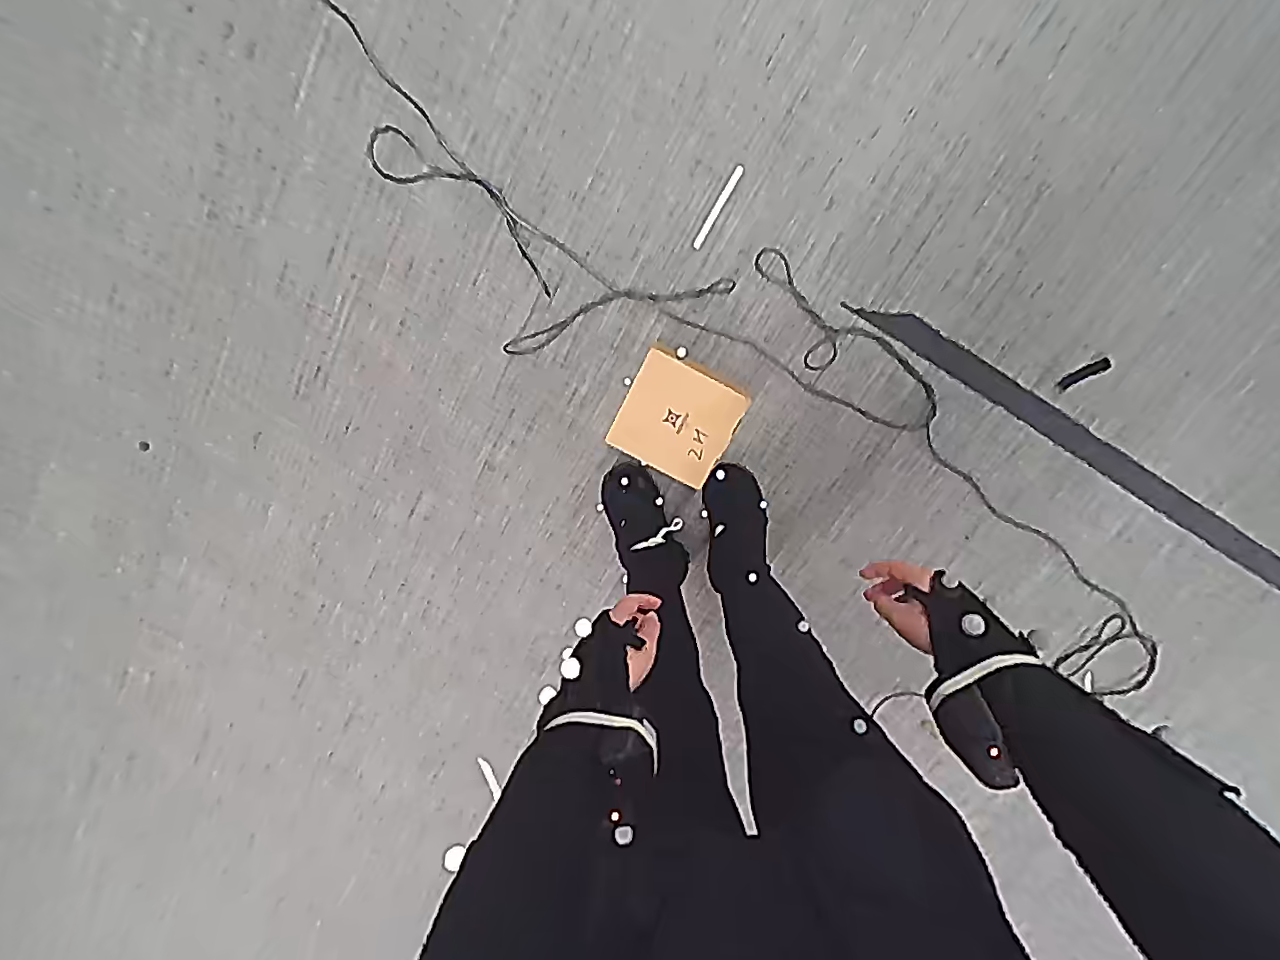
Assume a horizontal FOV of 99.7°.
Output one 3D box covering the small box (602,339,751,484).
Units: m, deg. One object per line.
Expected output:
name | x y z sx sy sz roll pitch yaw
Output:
small box | 0.058 -0.122 0.897 0.179 0.176 0.168 27 108 -6
